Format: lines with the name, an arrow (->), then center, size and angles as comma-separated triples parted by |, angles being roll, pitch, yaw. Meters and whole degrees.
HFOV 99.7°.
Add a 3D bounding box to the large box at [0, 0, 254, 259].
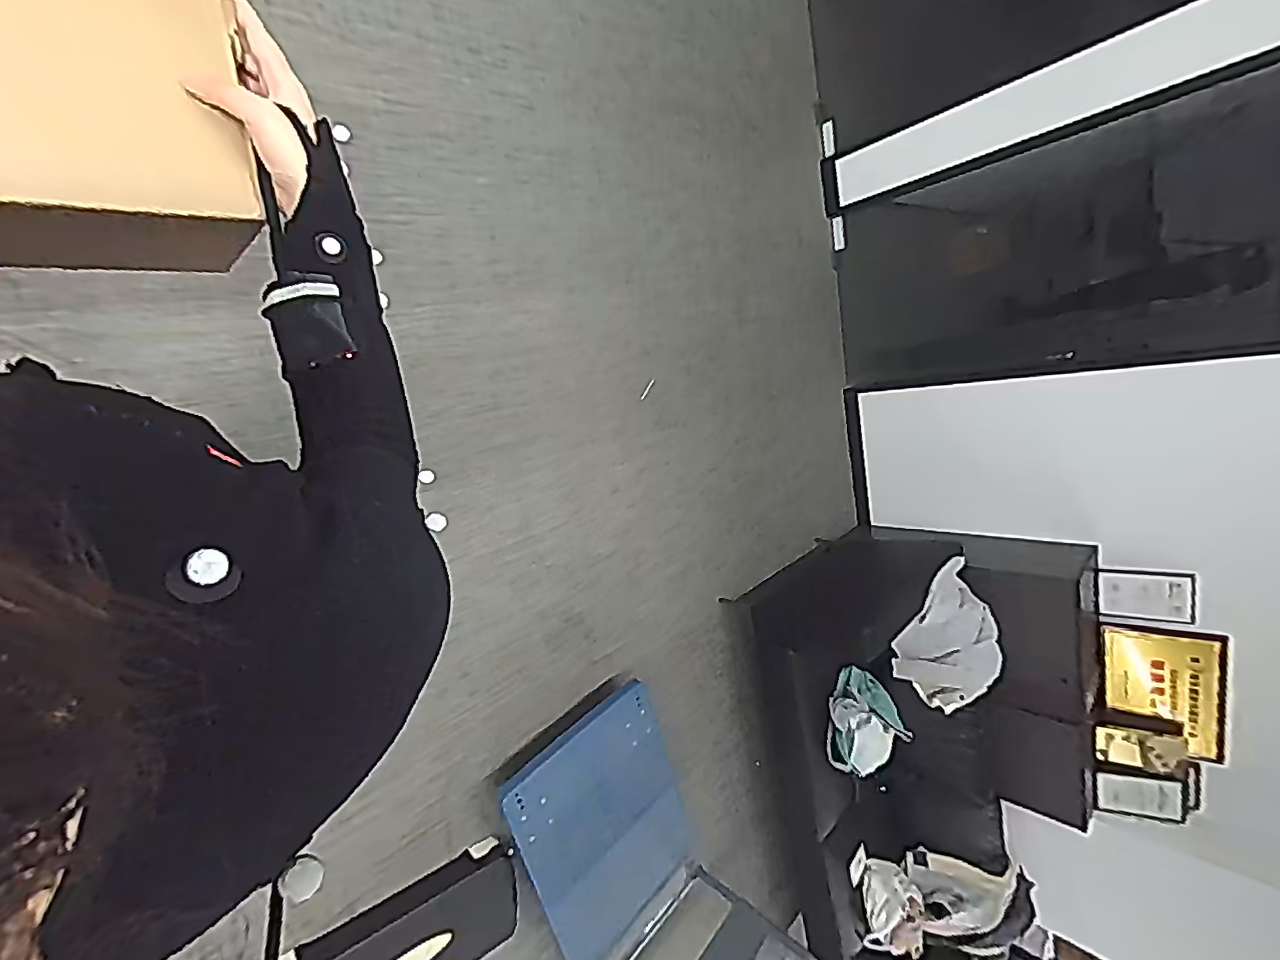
large box -> -0.556, -0.334, 0.372 | 0.408, 0.320, 0.320 | -16, 109, -38
